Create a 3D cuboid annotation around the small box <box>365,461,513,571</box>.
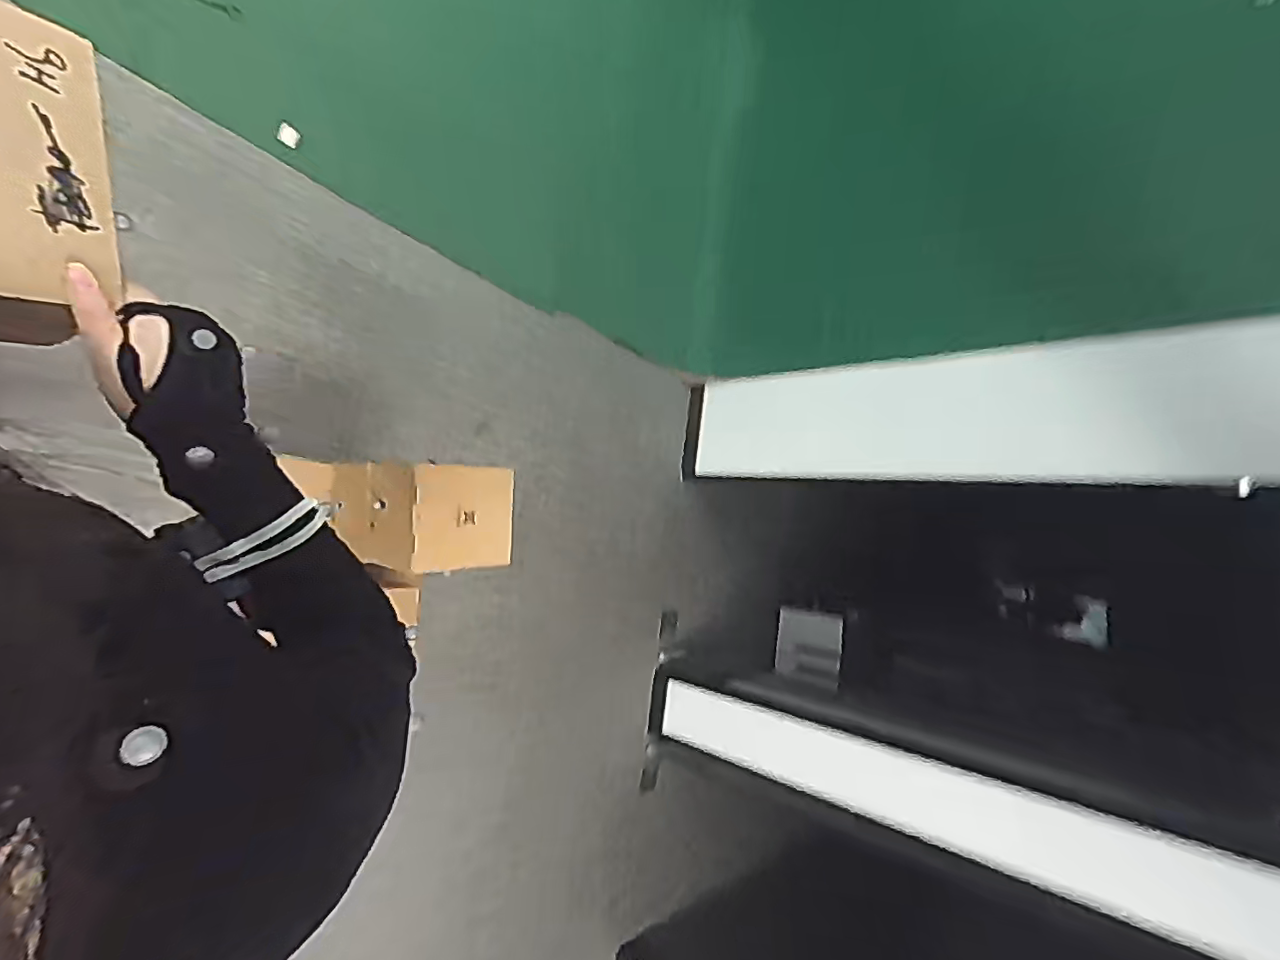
[{"bbox_3d":[-0.342,0.055,0.923,0.179,0.176,0.168,3,90,-49],"label":"small box"}]
